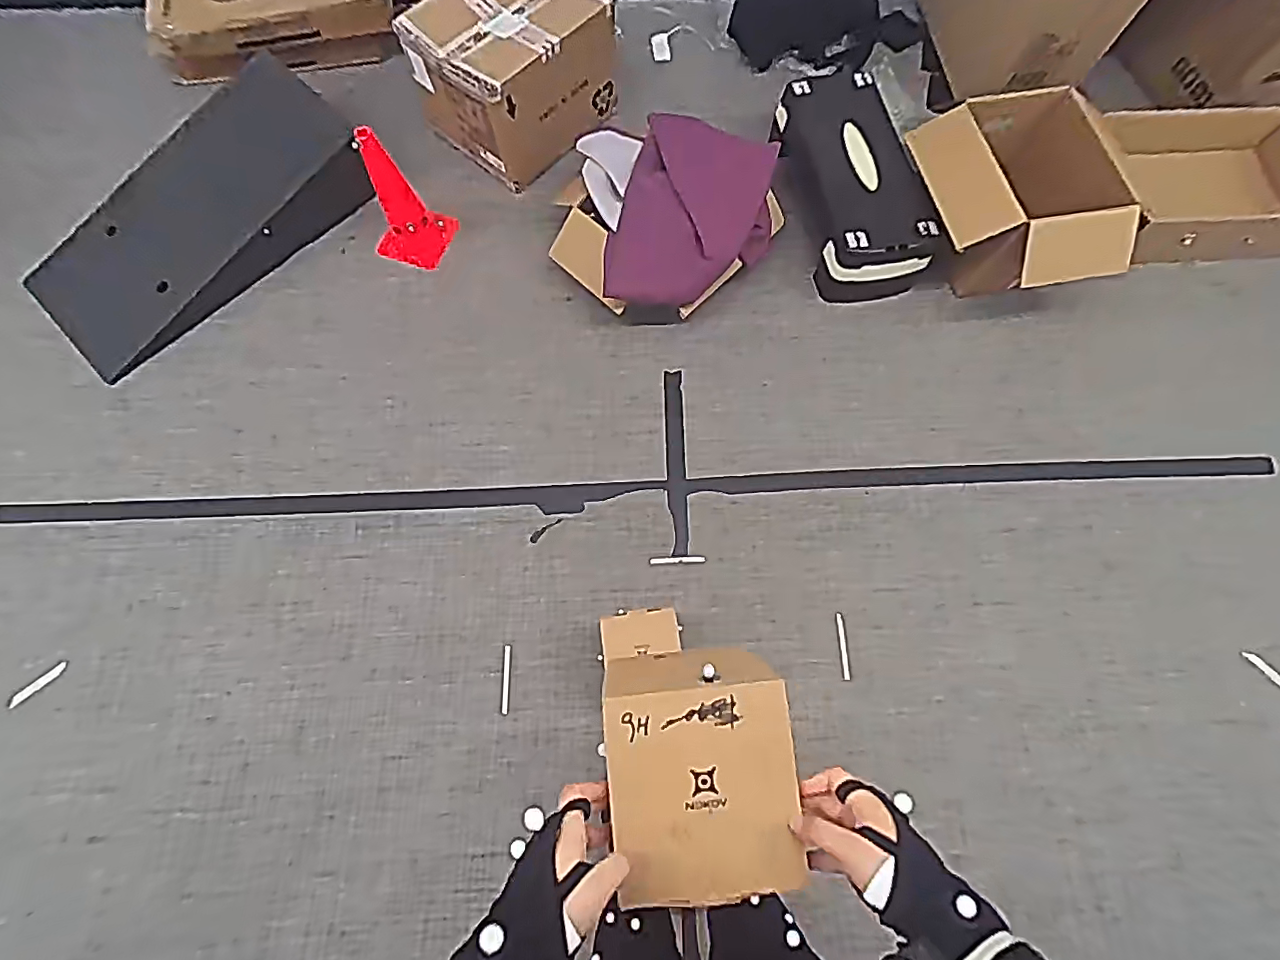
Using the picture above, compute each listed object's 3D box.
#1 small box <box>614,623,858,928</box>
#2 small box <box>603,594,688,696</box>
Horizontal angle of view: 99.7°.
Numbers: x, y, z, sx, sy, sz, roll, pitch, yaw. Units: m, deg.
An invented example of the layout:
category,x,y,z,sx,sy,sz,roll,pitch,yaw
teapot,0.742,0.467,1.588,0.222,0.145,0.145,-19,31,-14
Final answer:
category,x,y,z,sx,sy,sz,roll,pitch,yaw
small box,0.068,0.234,0.474,0.168,0.176,0.179,-6,84,-2
small box,0.016,0.343,1.127,0.168,0.176,0.179,-8,74,-2
